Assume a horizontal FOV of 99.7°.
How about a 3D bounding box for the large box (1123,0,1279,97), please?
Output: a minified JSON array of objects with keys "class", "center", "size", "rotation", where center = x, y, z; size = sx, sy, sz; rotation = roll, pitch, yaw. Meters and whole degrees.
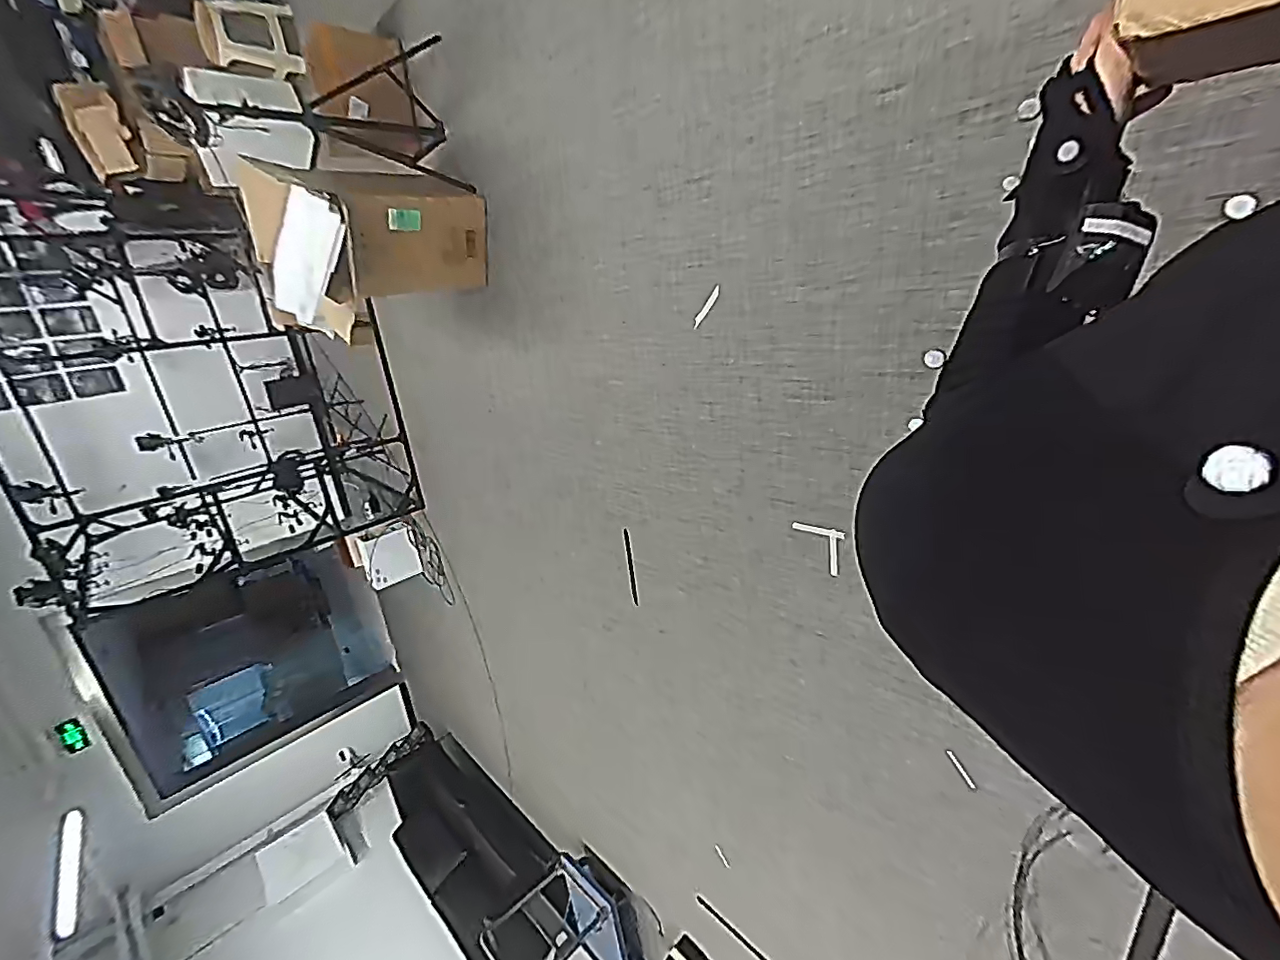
[{"class":"large box","center":[0.422,-0.353,0.145],"size":[0.408,0.320,0.320],"rotation":[11,122,40]}]
